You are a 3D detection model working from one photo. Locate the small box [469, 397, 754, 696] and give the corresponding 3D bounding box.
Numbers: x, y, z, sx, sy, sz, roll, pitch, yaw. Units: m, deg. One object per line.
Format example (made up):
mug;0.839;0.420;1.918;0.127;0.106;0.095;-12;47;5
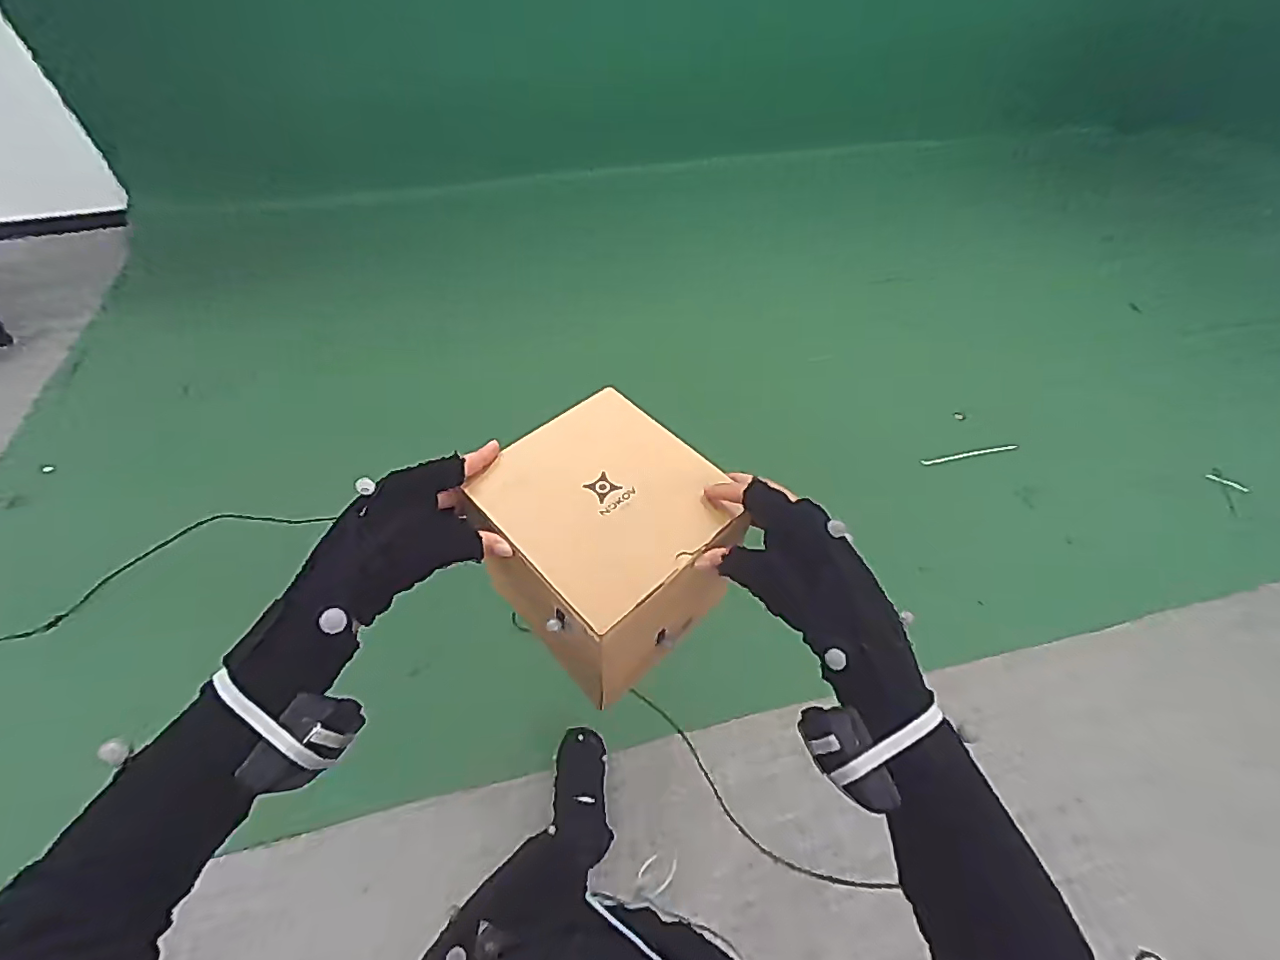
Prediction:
small box;-0.030;0.062;0.496;0.168;0.176;0.179;-35;63;-28
